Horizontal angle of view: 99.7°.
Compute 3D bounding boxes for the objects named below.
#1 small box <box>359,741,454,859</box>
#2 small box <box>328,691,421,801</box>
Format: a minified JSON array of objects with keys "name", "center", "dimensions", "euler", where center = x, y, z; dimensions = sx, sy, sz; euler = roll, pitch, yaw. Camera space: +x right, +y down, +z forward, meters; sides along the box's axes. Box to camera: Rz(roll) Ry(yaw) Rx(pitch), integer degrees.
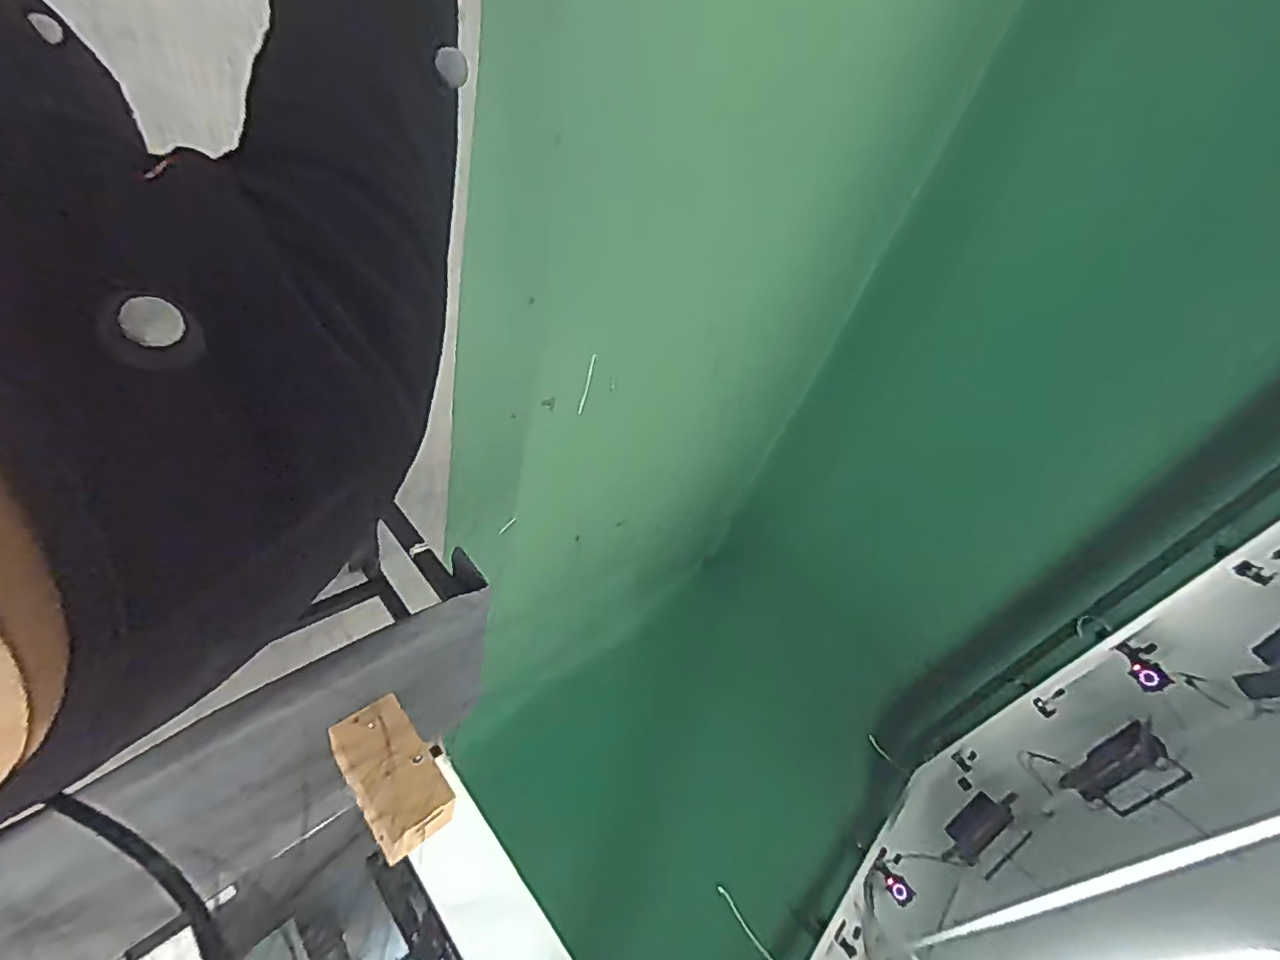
[{"name":"small box","center":[-0.594,0.802,1.372],"dimensions":[0.168,0.176,0.179],"euler":[-22,146,-42]},{"name":"small box","center":[-0.705,0.700,1.437],"dimensions":[0.168,0.176,0.179],"euler":[-24,147,-41]}]
